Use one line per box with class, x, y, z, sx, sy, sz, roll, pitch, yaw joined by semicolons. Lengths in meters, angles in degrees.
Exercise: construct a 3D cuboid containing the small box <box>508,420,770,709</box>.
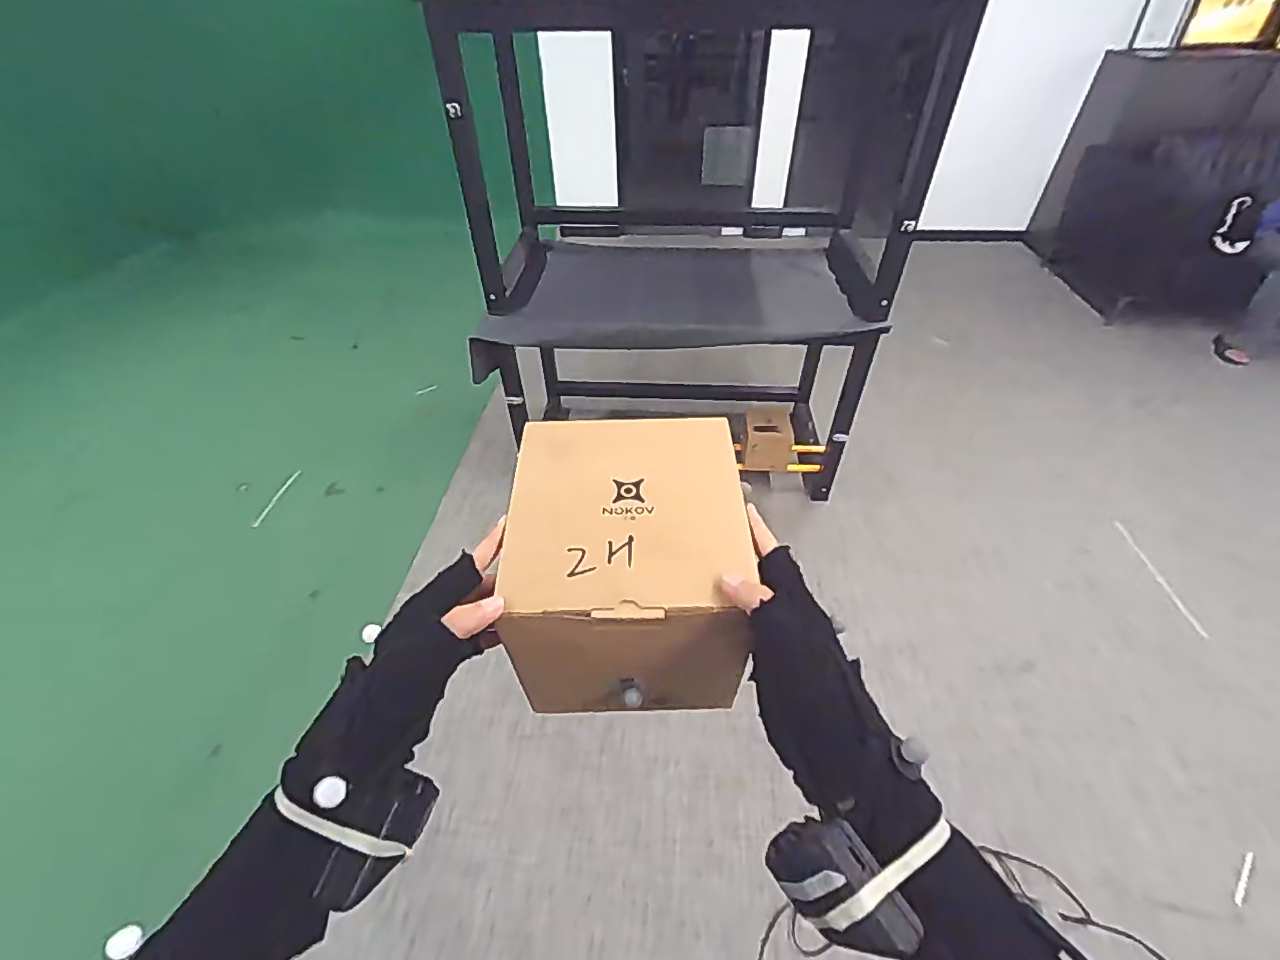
small box;-0.001;0.069;0.447;0.168;0.176;0.179;-1;46;0
